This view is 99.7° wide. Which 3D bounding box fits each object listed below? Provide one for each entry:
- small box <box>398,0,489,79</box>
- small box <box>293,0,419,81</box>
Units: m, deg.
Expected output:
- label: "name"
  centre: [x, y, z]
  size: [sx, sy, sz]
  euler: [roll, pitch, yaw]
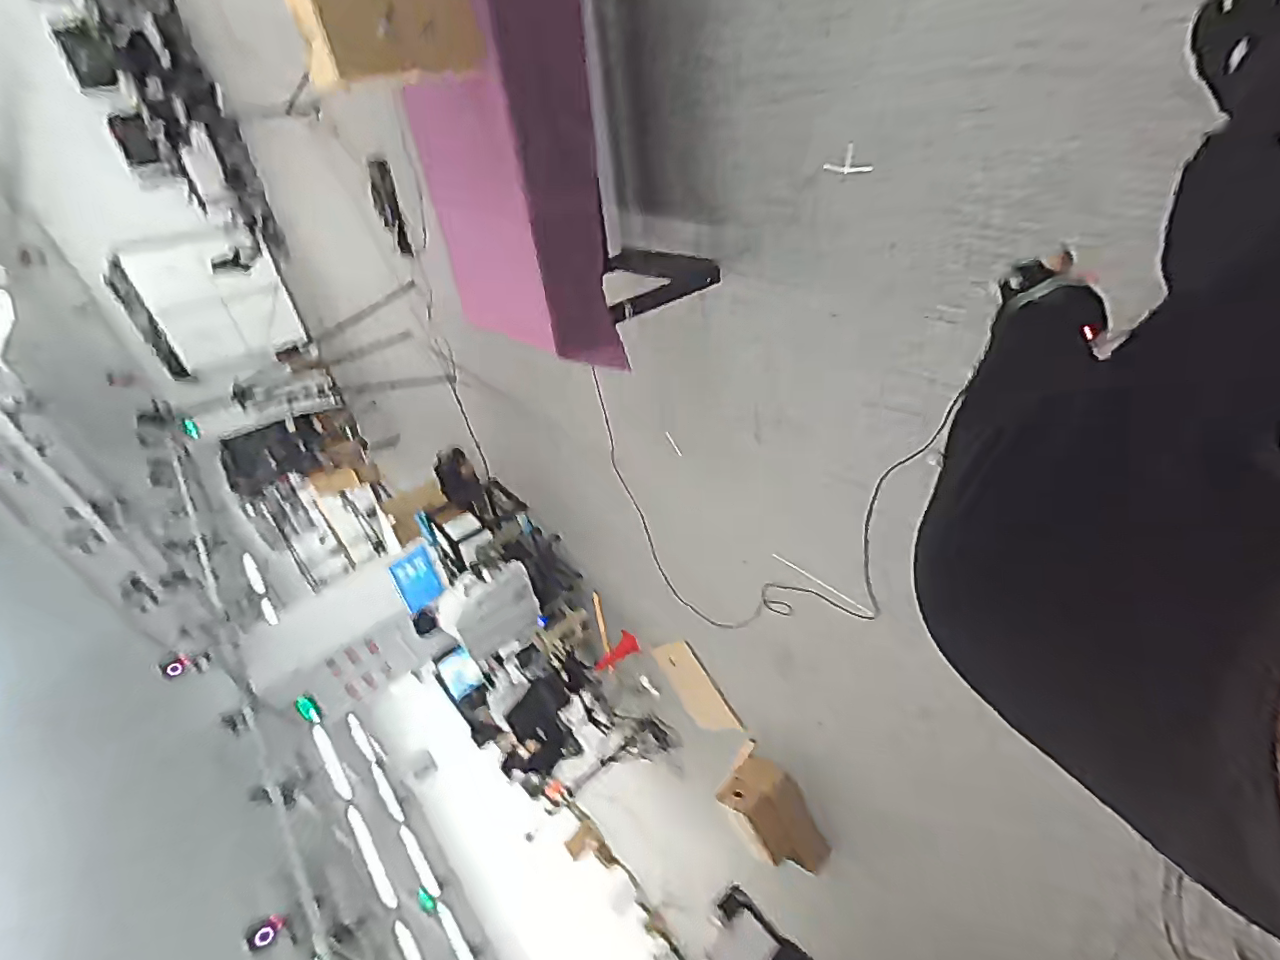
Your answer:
- label: "small box"
  centre: [-0.457, -1.007, 1.196]
  size: [0.168, 0.176, 0.179]
  euler: [32, 140, 39]
- label: "small box"
  centre: [-0.586, -0.938, 1.120]
  size: [0.179, 0.176, 0.168]
  euler: [29, 139, 41]
